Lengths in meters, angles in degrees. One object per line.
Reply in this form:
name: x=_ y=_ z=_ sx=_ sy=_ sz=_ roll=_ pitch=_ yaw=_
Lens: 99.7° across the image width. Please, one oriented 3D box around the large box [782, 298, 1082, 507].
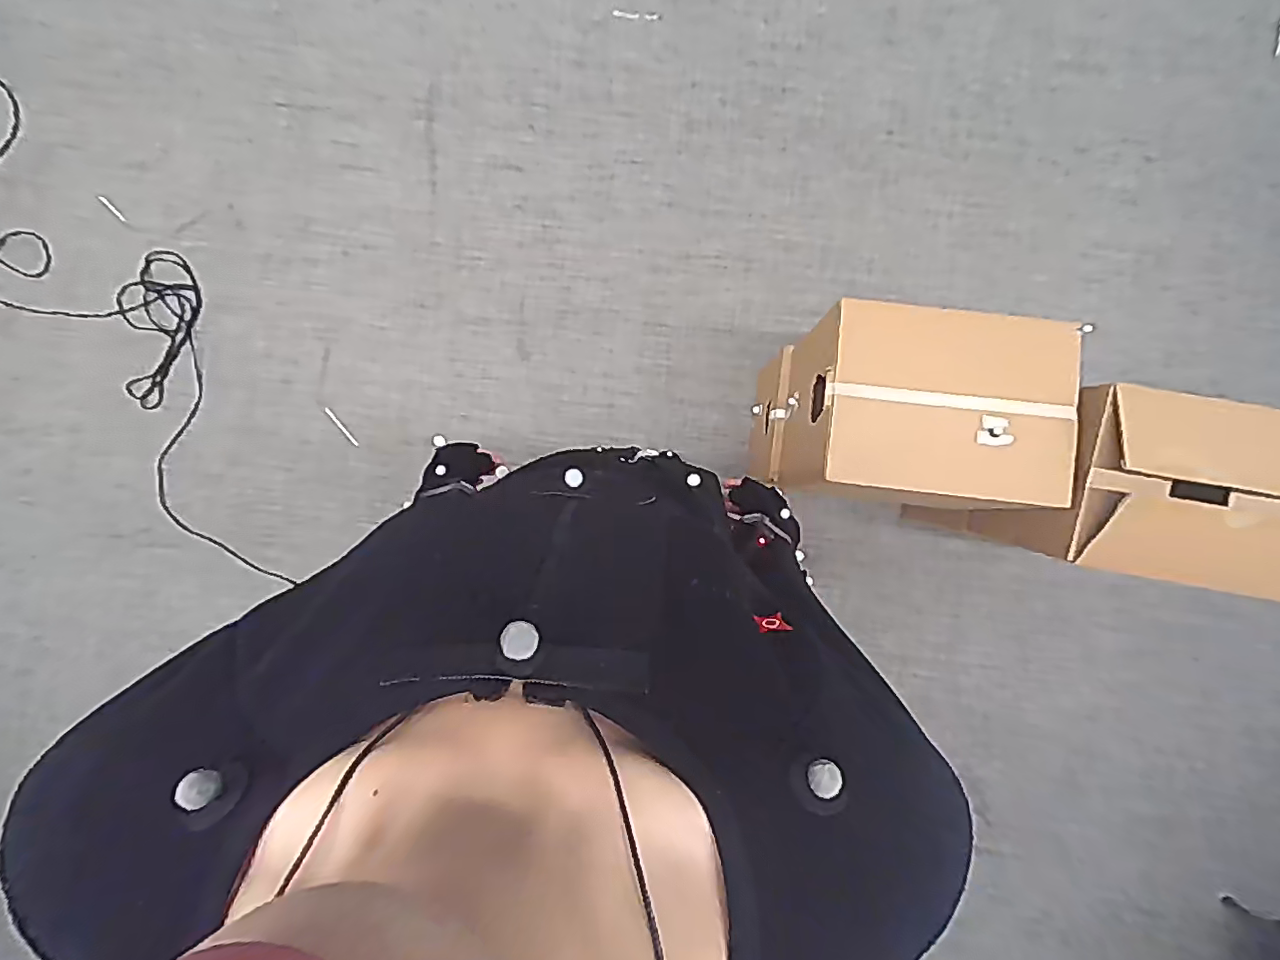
large box: x=0.514 y=-0.121 z=1.030 sx=0.408 sy=0.320 sz=0.320 roll=7 pitch=87 yaw=0
